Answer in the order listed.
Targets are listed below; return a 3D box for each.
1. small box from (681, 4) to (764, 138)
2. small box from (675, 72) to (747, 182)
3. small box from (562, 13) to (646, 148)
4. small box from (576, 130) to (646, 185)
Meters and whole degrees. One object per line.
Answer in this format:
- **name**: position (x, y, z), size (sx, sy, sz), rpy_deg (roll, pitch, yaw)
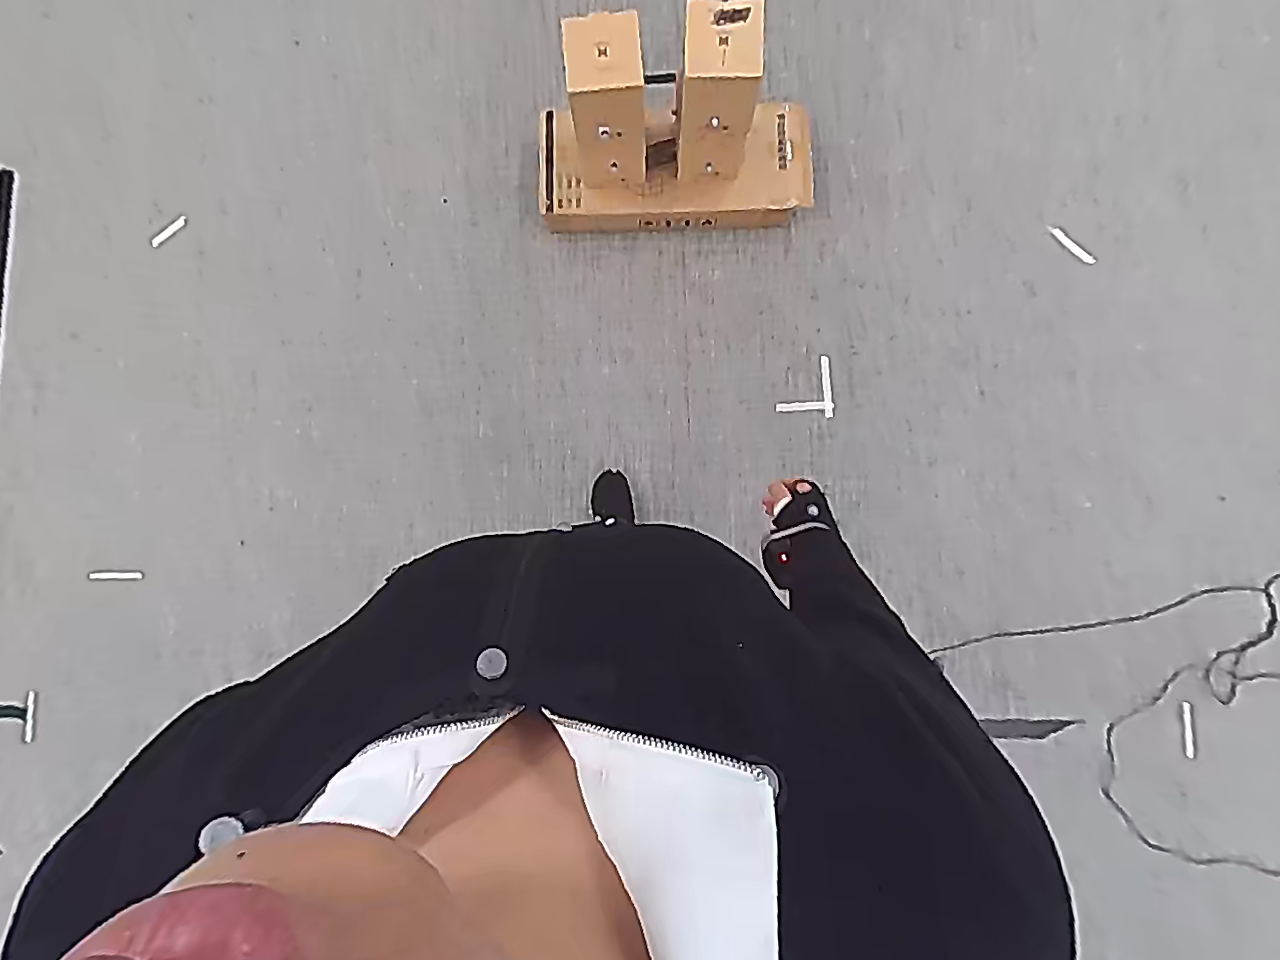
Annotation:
- **small box**: position (0.179, -0.913, 1.217), size (0.168, 0.176, 0.179), rpy_deg (2, 85, 2)
- **small box**: position (0.176, -0.897, 1.381), size (0.168, 0.176, 0.179), rpy_deg (-2, 85, 2)
- **small box**: position (-0.076, -0.895, 1.223), size (0.168, 0.176, 0.179), rpy_deg (-6, 86, 2)
- **small box**: position (-0.072, -0.884, 1.387), size (0.168, 0.176, 0.179), rpy_deg (-4, 86, 1)
